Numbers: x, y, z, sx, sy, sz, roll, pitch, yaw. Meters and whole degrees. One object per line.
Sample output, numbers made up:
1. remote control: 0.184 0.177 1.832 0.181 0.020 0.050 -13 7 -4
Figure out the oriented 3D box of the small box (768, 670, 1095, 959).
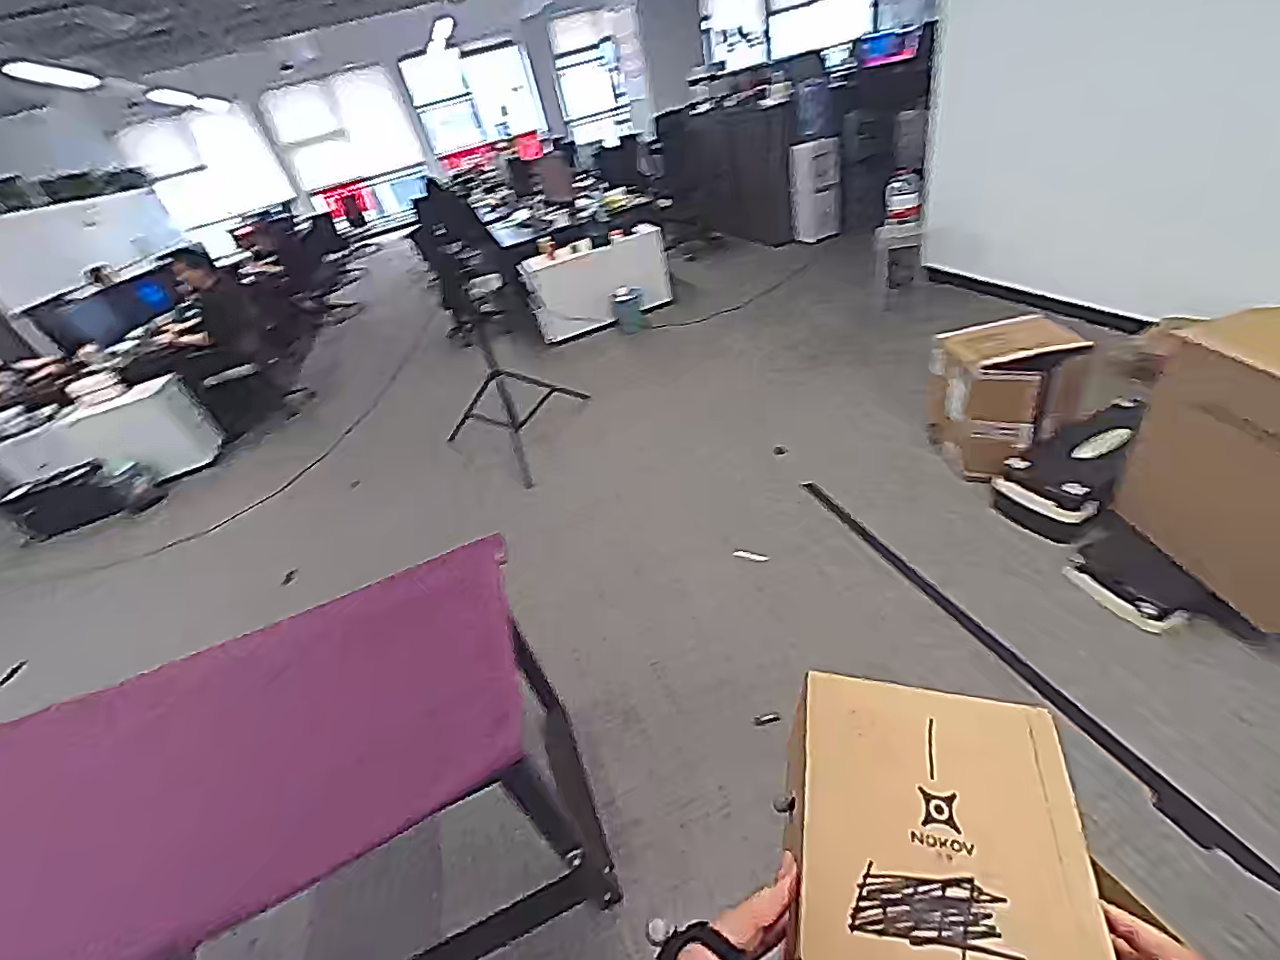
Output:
1. small box: 0.187 0.269 0.399 0.168 0.176 0.179 5 48 13
